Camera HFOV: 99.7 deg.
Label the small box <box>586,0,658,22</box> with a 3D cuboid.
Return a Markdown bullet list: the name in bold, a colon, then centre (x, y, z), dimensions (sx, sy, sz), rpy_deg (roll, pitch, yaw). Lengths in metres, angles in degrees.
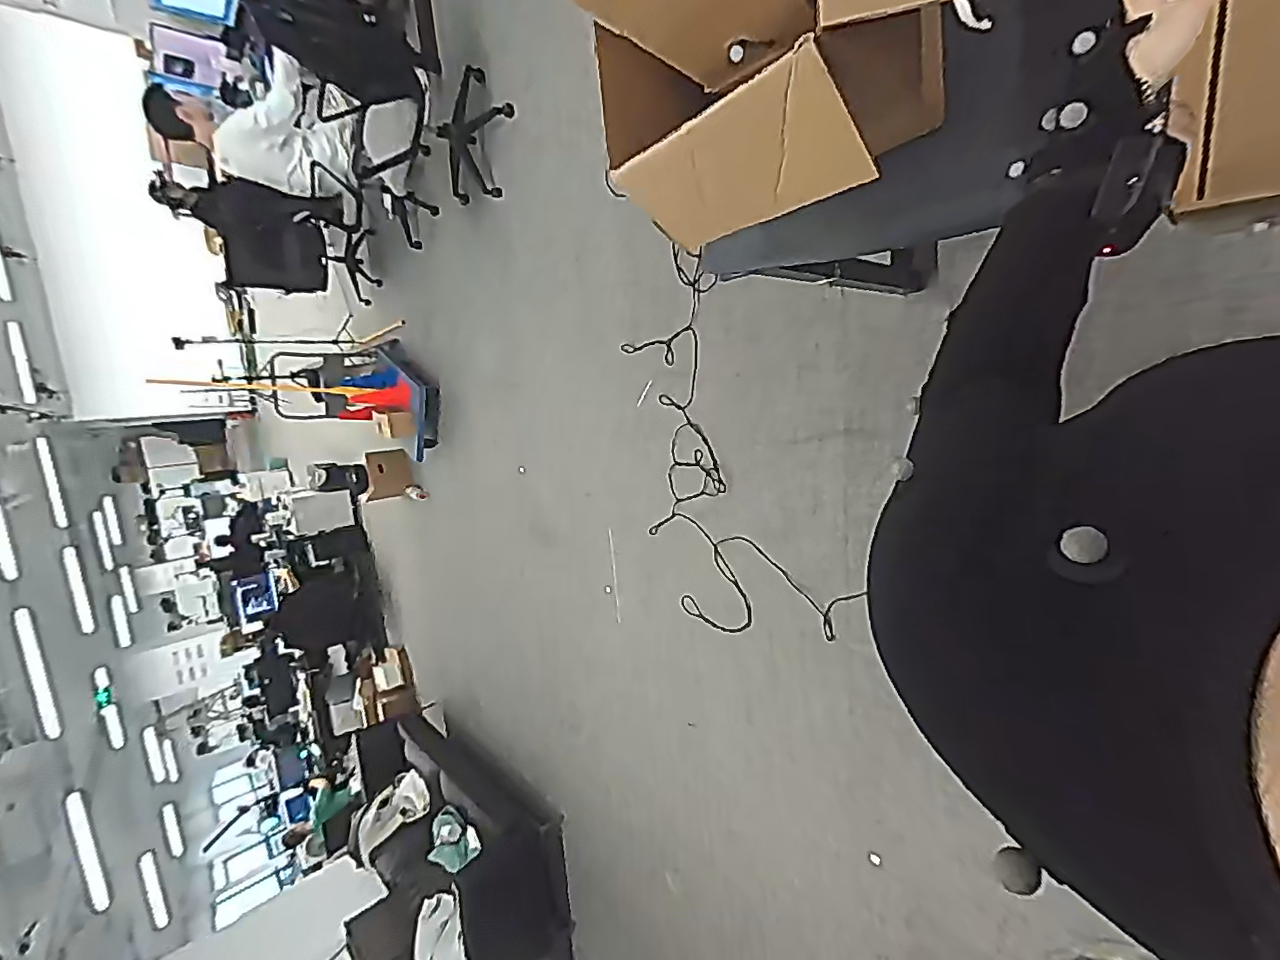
- **small box**: centre (-0.018, -0.562, 0.475), dimensions (0.179, 0.176, 0.168), rpy_deg (5, 102, 43)
